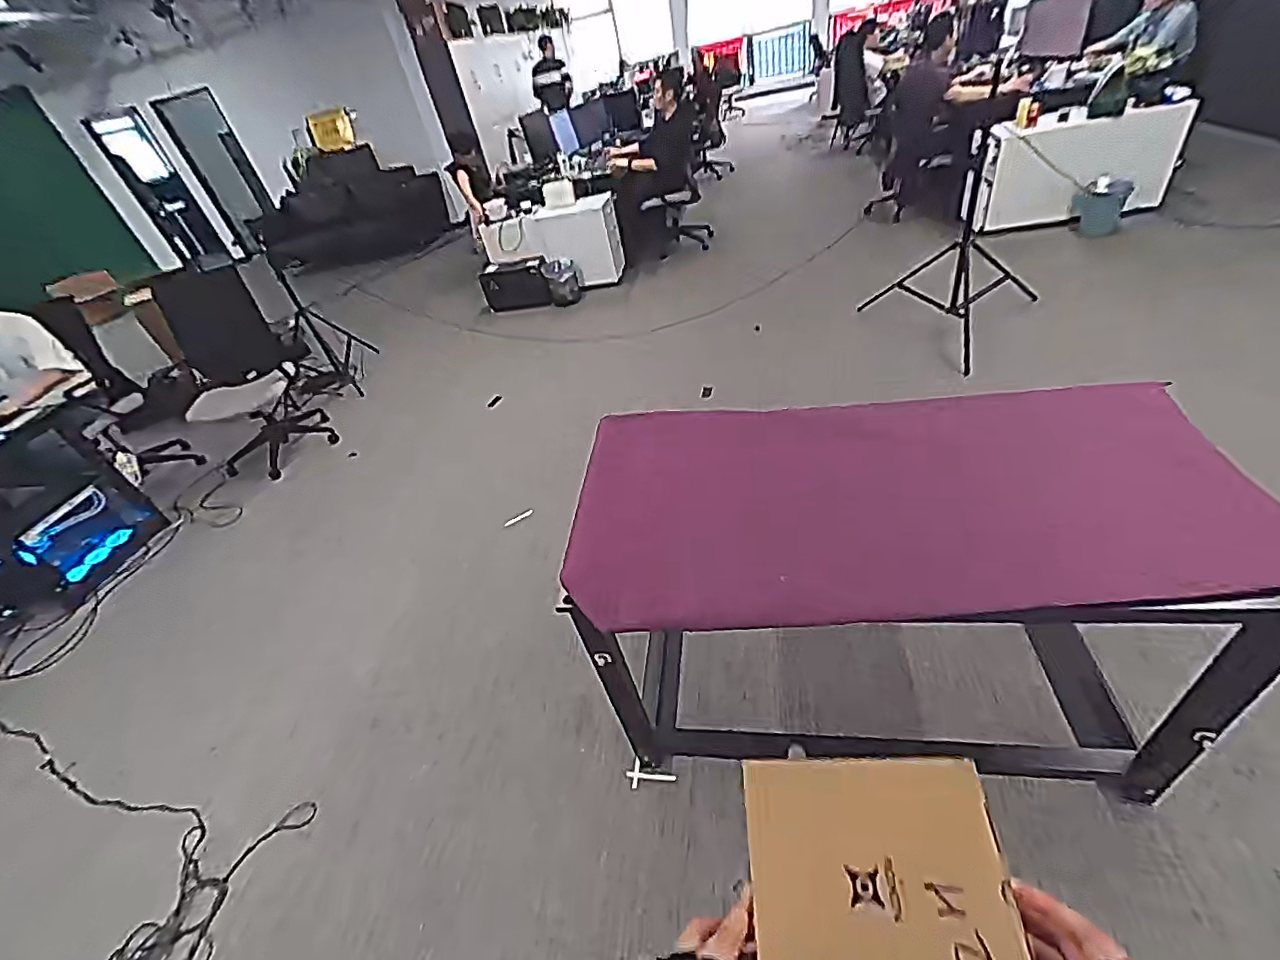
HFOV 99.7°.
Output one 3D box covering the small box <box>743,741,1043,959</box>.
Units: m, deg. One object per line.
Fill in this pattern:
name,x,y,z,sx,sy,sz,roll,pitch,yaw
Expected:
small box,0.184,0.318,0.439,0.179,0.176,0.168,-6,54,11
